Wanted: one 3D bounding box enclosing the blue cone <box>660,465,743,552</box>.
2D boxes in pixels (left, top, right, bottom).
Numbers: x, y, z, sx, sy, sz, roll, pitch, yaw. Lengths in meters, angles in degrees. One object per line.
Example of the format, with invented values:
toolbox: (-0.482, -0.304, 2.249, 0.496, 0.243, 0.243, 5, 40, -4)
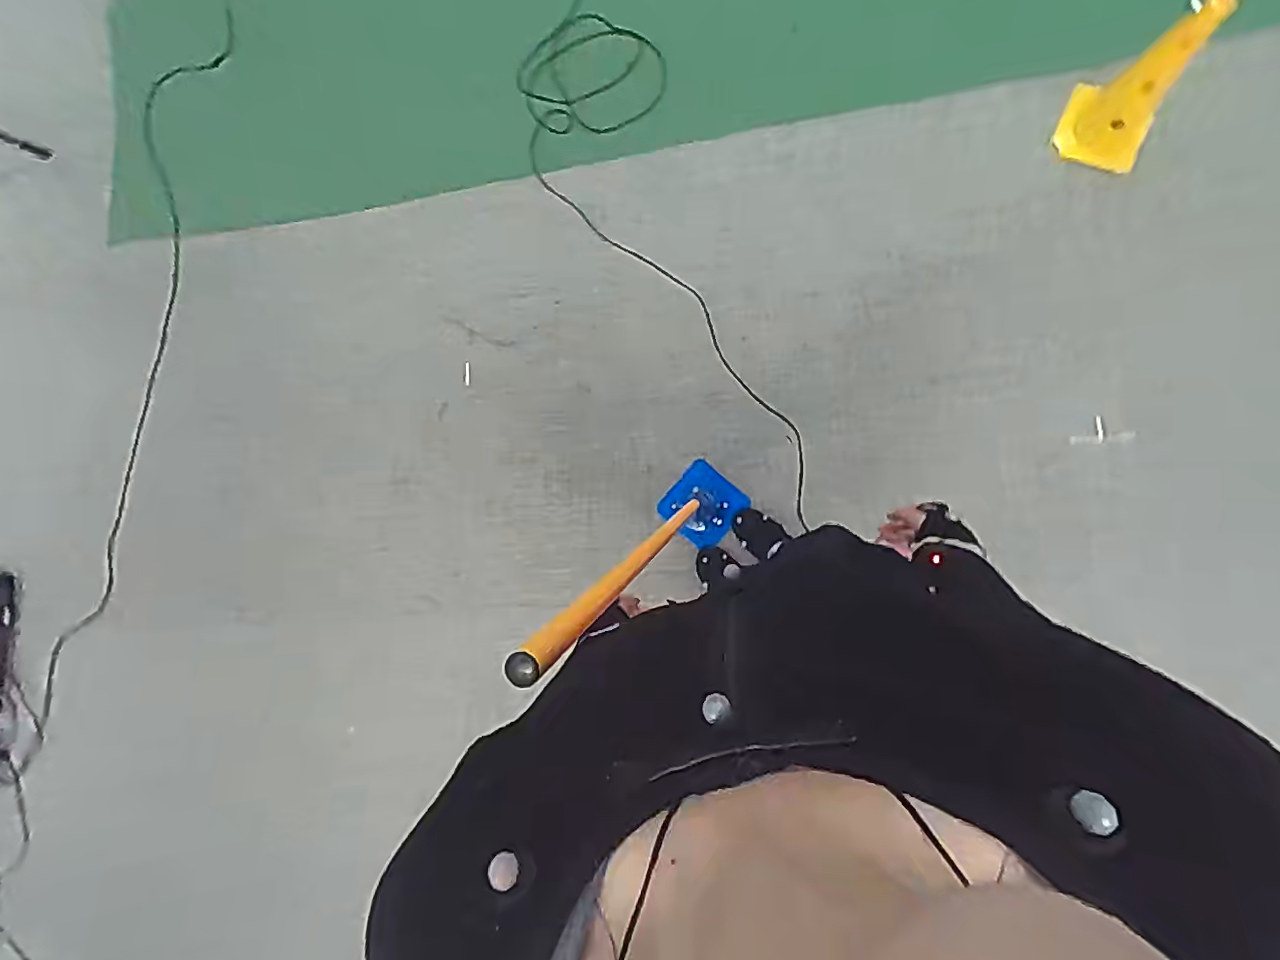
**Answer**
blue cone: (0.140, 0.073, 1.330, 0.192, 0.380, 0.193, 40, 95, 9)
